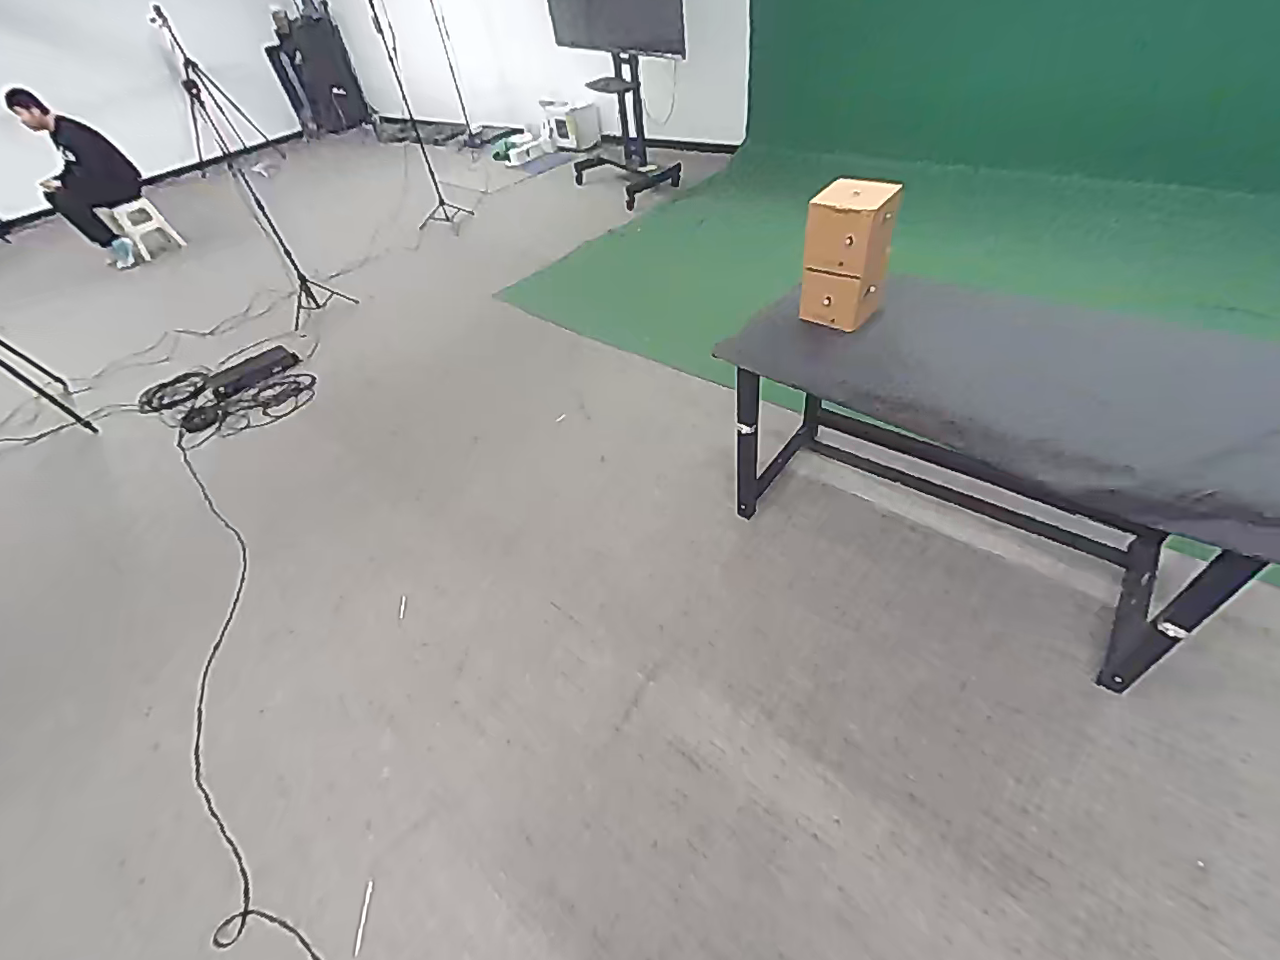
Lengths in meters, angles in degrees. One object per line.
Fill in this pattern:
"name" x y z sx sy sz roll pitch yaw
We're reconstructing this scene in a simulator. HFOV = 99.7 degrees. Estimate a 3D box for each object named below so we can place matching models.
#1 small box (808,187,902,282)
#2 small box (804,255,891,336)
"small box" 0.553 -0.639 1.407 0.168 0.176 0.179 27 54 30
"small box" 0.580 -0.533 1.529 0.168 0.176 0.179 29 57 31
